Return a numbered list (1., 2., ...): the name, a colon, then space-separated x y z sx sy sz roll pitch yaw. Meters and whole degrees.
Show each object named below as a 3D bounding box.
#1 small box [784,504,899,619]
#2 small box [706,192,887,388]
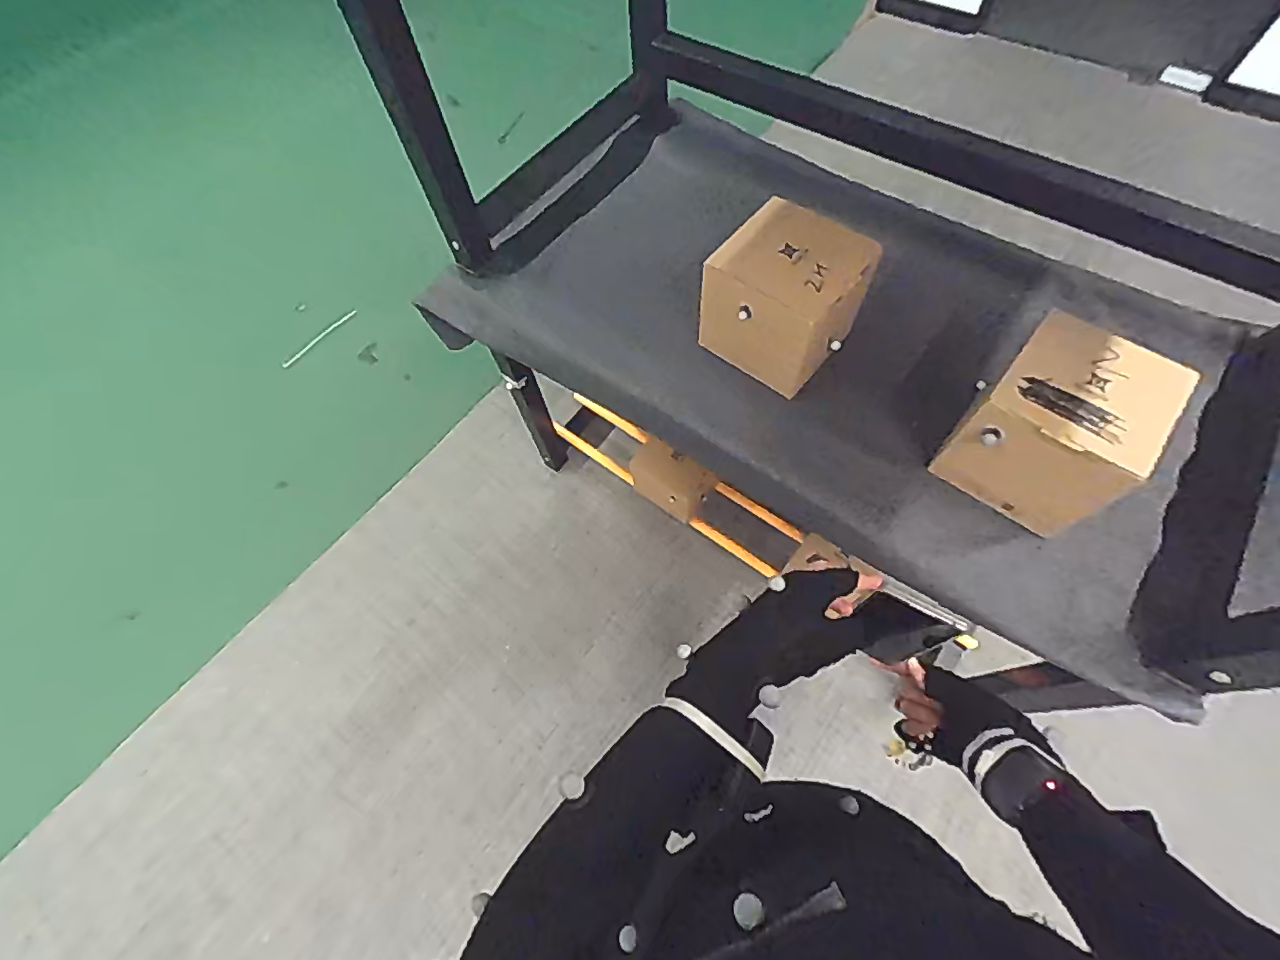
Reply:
1. small box: 0.447 0.192 1.231 0.168 0.176 0.179 37 72 19
2. small box: 0.209 -0.265 0.776 0.179 0.176 0.168 37 72 19
